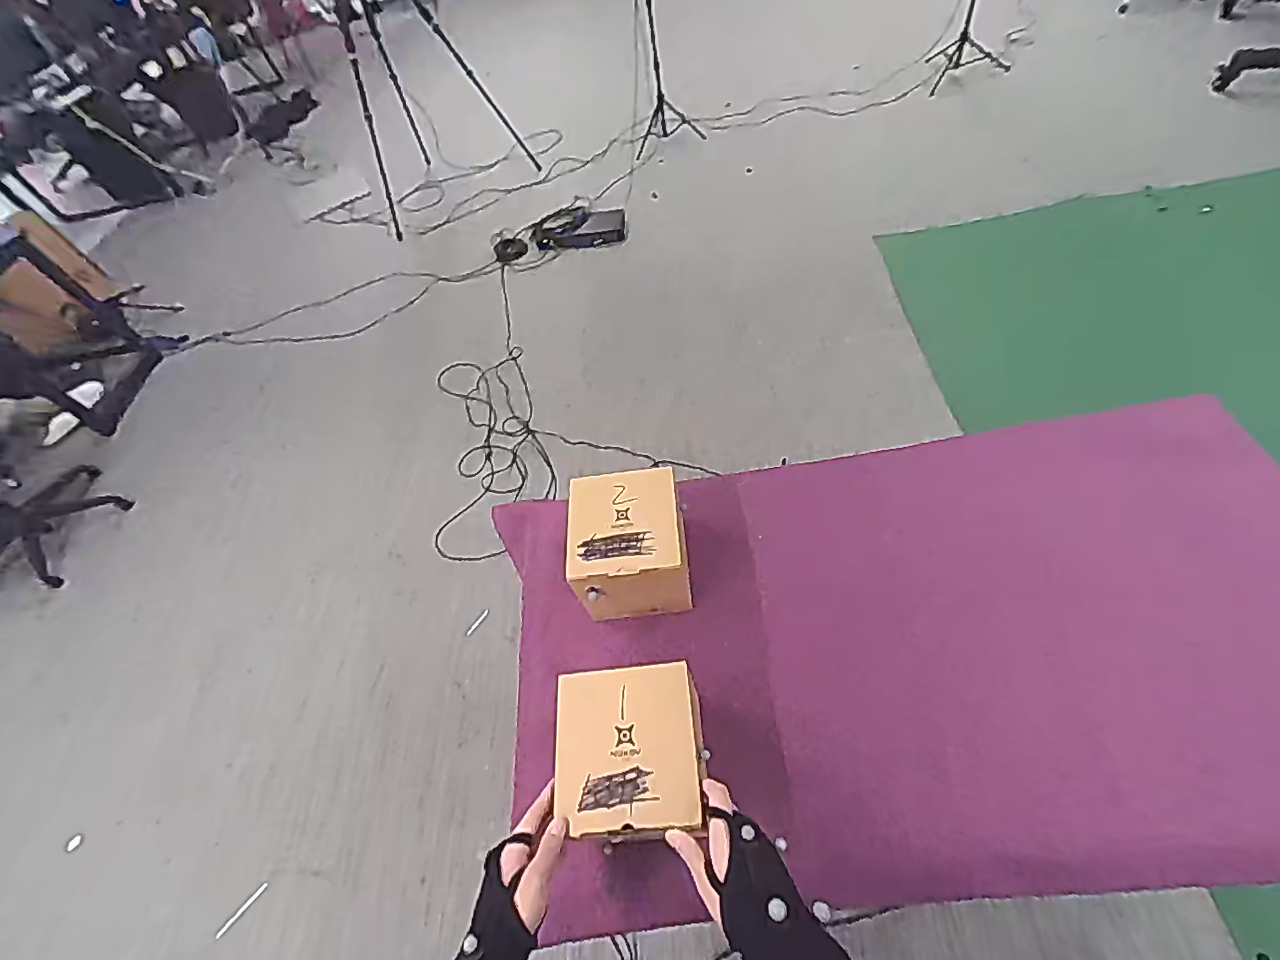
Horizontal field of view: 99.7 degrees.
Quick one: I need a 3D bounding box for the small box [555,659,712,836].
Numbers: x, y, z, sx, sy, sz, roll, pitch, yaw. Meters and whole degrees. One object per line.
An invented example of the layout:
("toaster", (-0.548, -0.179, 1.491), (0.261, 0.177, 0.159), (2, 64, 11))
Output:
("small box", (-0.003, 0.346, 0.689), (0.168, 0.176, 0.179), (-8, 53, 6))
